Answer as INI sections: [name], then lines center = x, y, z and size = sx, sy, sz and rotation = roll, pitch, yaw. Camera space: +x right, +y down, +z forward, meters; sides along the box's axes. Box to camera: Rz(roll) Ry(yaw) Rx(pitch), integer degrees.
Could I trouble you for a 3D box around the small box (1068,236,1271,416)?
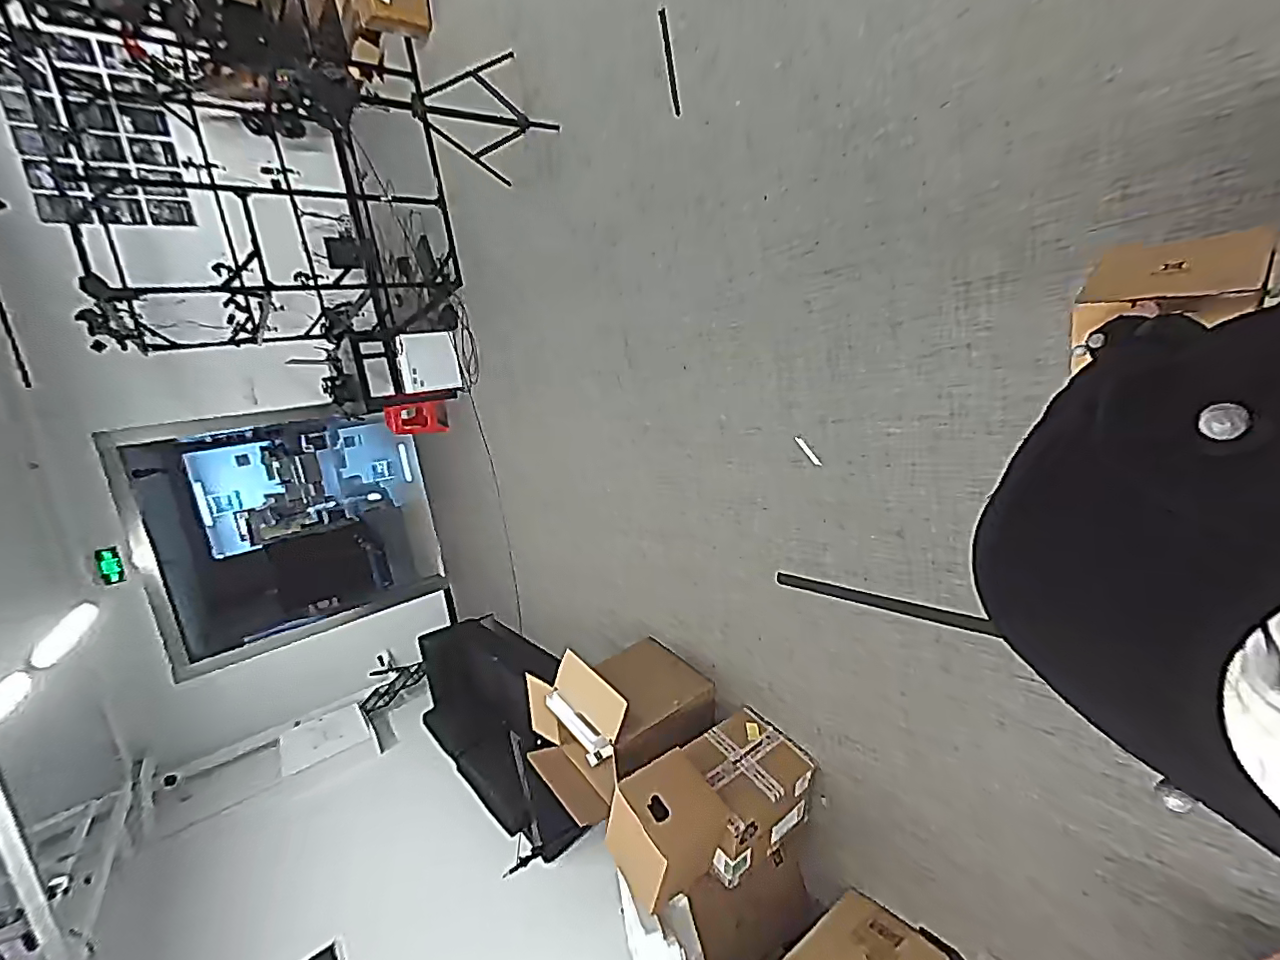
[small box]
center = 0.707, -0.202, 0.734
size = 0.168, 0.179, 0.176
rotation = 14, 137, 47
